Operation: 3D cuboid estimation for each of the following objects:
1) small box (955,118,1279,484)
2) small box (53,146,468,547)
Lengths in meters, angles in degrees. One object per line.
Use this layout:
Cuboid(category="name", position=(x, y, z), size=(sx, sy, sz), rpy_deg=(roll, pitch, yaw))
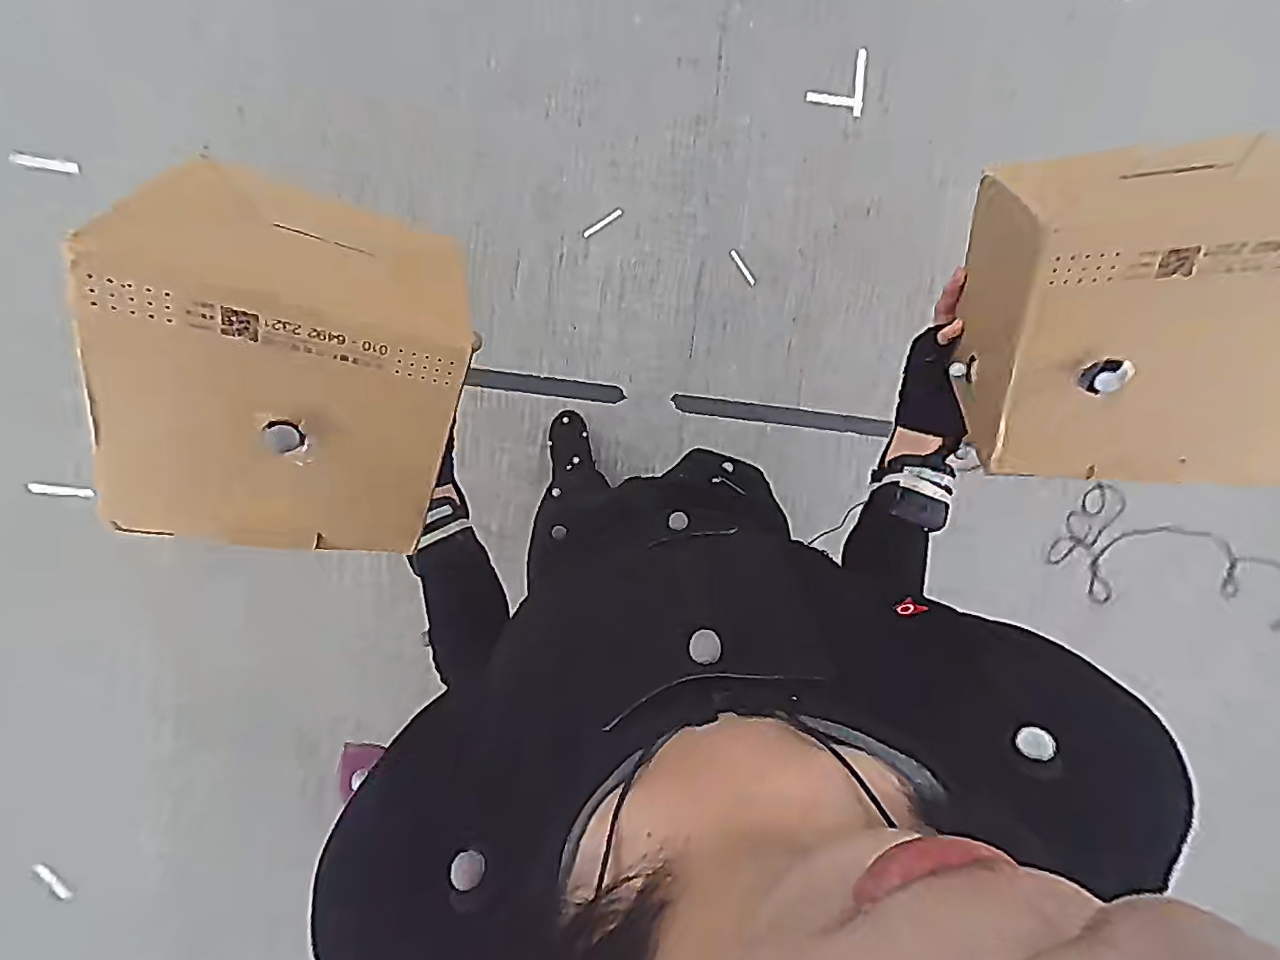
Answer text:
Cuboid(category="small box", position=(0.324, -0.117, 0.349), size=(0.168, 0.179, 0.176), rpy_deg=(4, 128, 18))
Cuboid(category="small box", position=(-0.213, -0.082, 0.341), size=(0.168, 0.179, 0.176), rpy_deg=(10, 124, -27))
